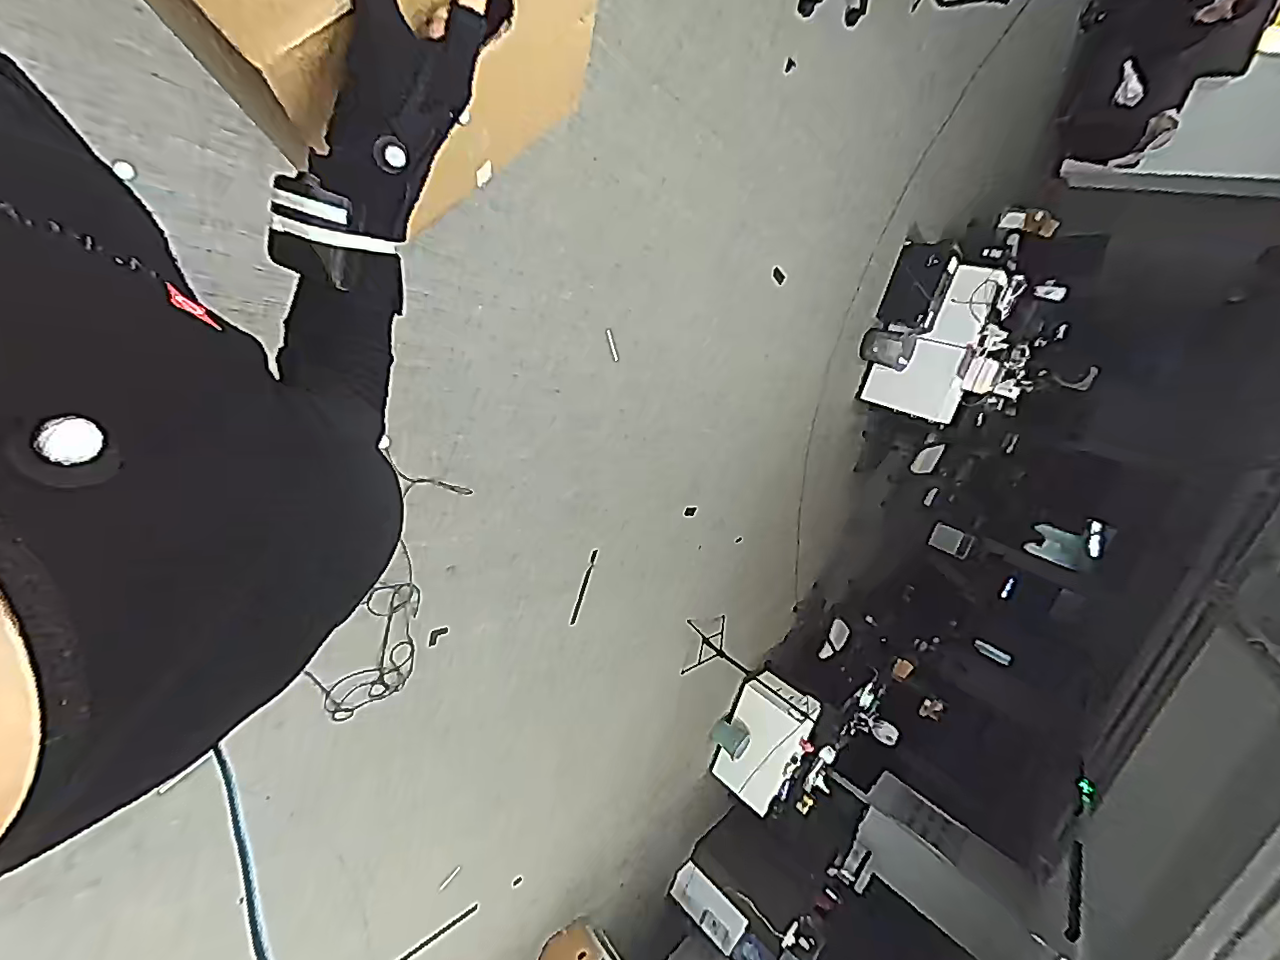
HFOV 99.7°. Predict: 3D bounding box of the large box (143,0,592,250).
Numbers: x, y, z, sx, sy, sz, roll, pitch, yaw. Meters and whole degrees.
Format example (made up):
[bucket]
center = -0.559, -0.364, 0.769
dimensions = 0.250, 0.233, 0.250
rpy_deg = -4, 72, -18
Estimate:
[large box]
center = -0.287, -0.506, 0.477
dimensions = 0.320, 0.320, 0.408
rpy_deg = -43, 100, -8
